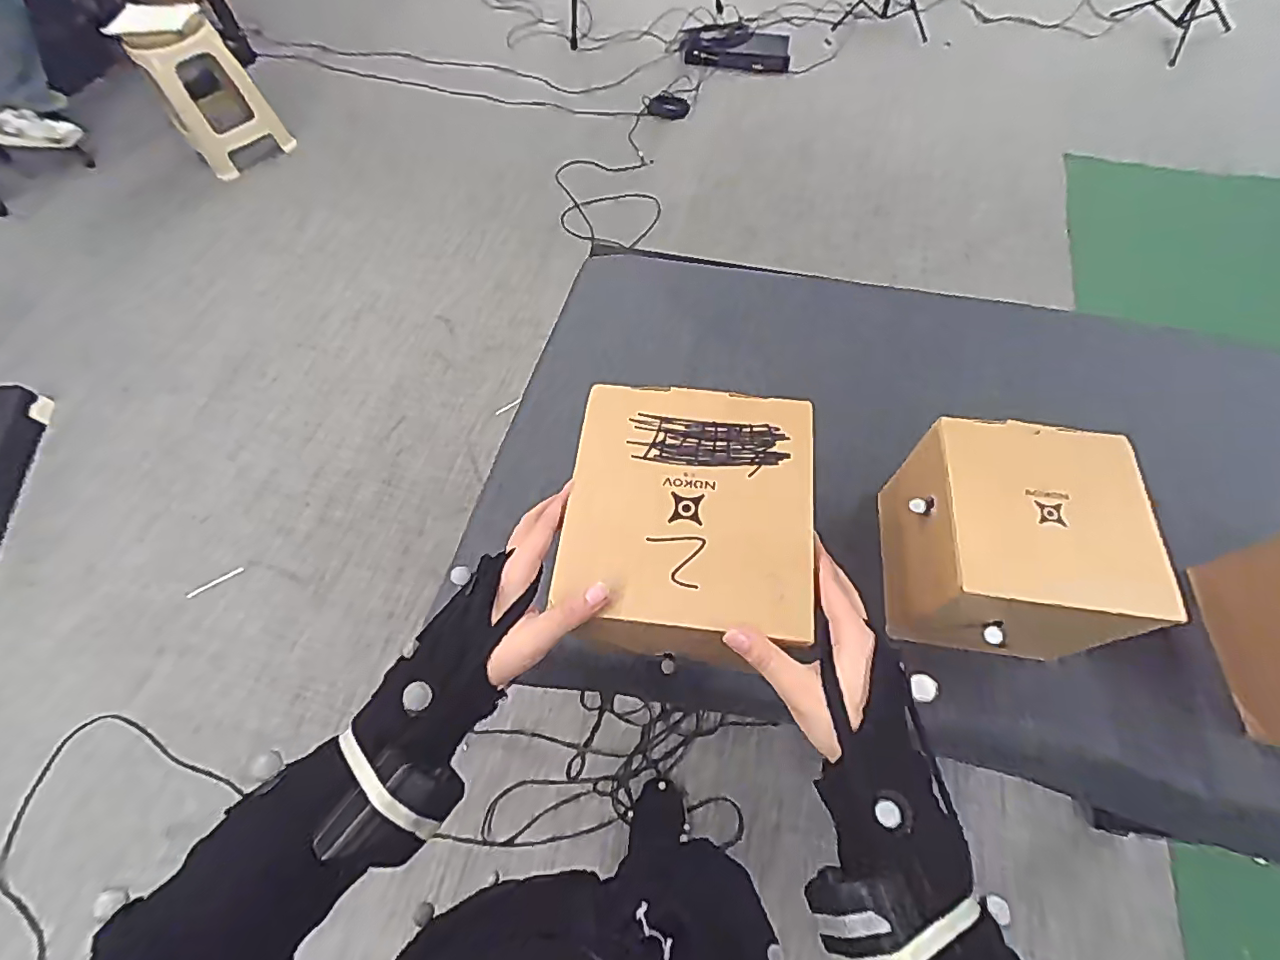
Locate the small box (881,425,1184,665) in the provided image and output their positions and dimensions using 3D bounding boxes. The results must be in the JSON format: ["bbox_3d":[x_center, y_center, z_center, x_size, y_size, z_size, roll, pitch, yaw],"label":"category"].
[{"bbox_3d":[0.351,0.071,0.530,0.168,0.176,0.179,7,60,6],"label":"small box"}]

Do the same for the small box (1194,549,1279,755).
[{"bbox_3d":[0.663,0.149,0.475,0.168,0.176,0.179,5,61,6],"label":"small box"}]
